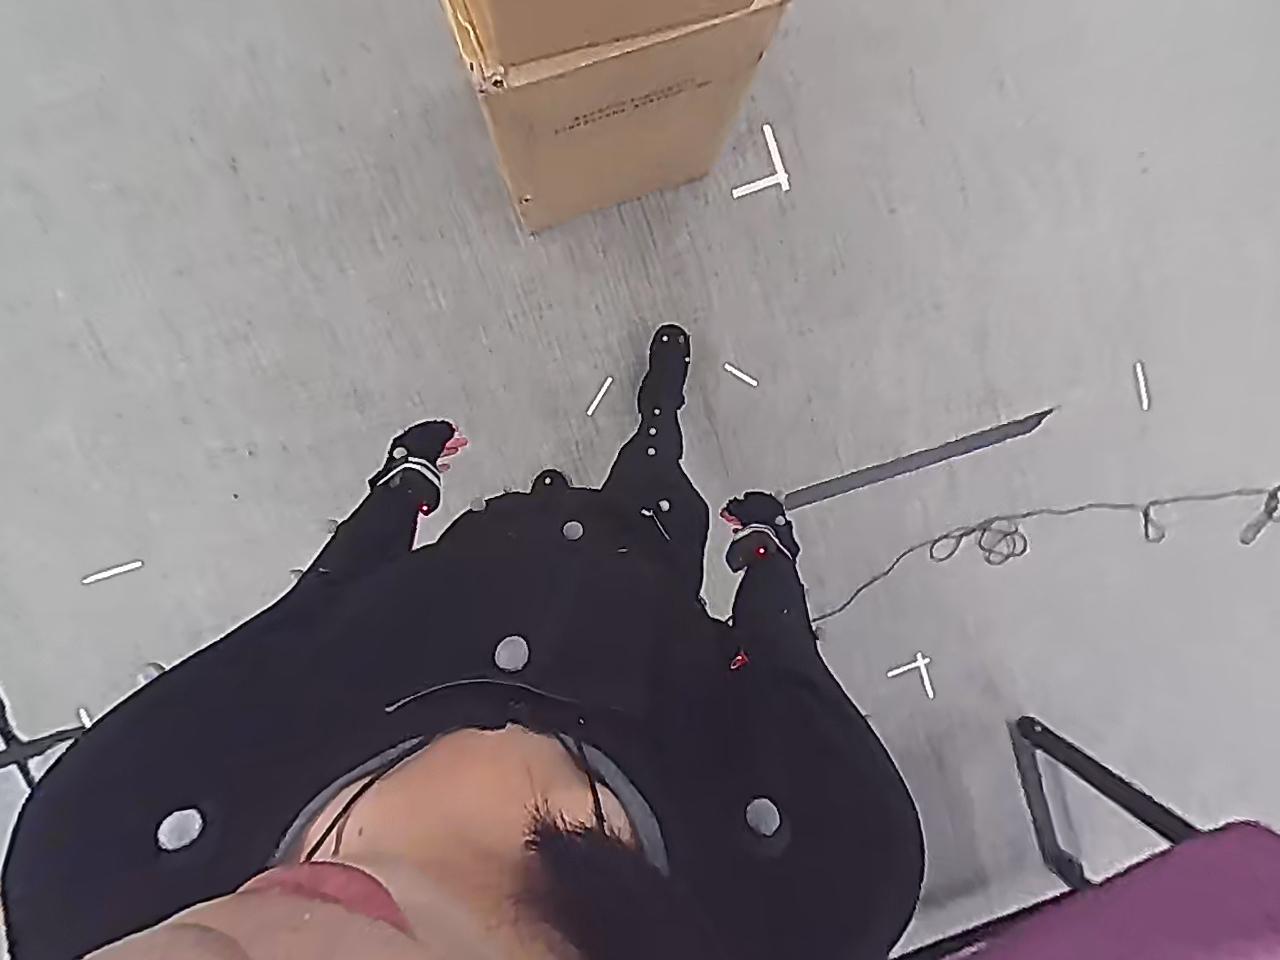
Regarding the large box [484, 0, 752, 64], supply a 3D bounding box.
[{"bbox_3d":[-0.042,-0.795,0.646,0.408,0.320,0.320,-17,98,-4],"label":"large box"}]
